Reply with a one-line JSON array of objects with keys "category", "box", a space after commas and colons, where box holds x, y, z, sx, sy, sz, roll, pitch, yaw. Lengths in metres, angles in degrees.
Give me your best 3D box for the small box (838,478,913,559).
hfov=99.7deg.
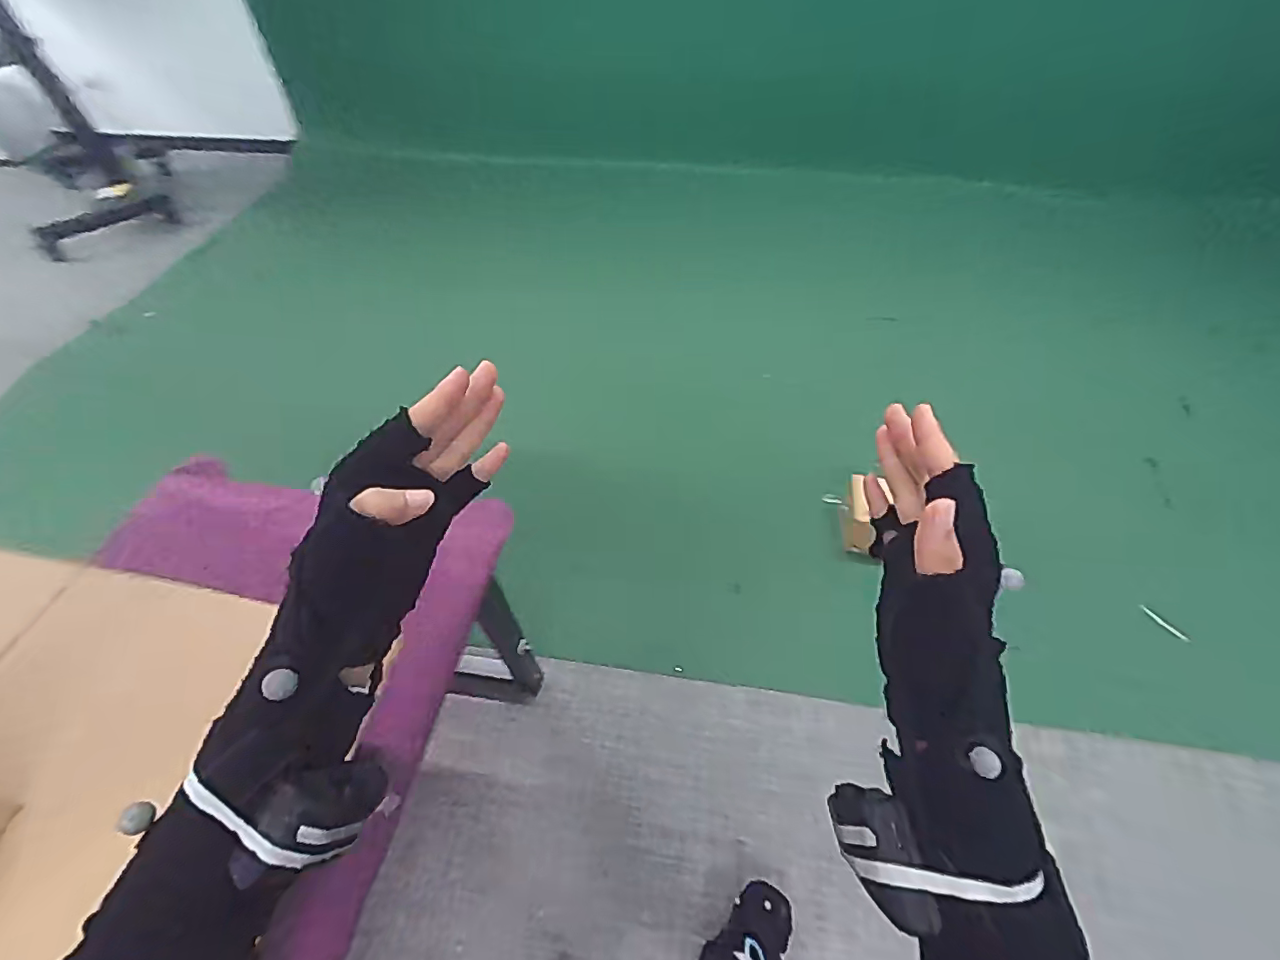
[{"category": "small box", "box": [0.713, 0.121, 1.655, 0.168, 0.176, 0.179, 8, 52, 7]}]
